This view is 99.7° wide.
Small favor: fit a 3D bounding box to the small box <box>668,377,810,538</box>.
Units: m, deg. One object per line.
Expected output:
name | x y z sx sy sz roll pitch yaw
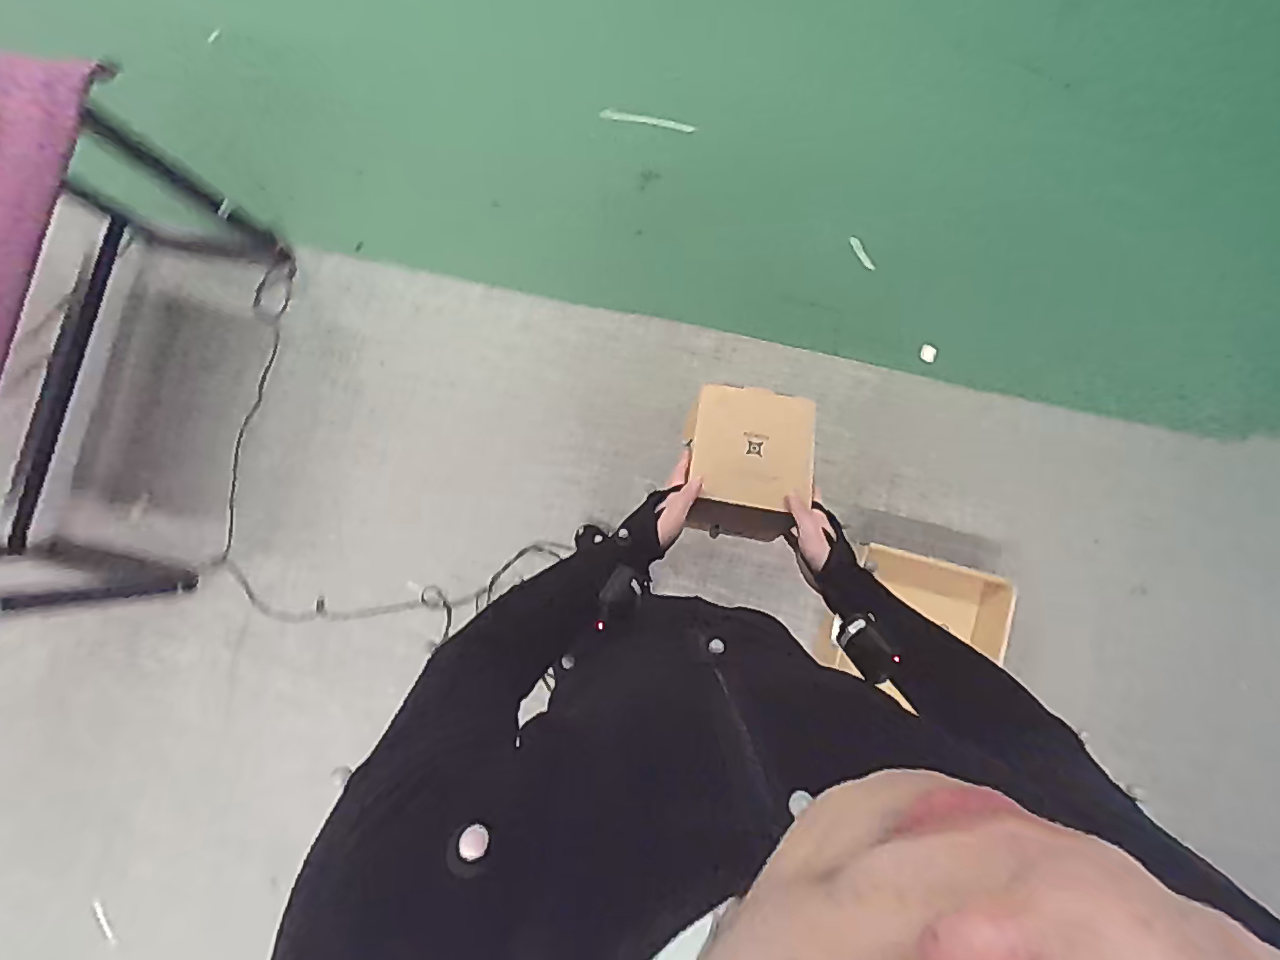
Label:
small box | 0.138 -0.025 0.798 0.168 0.176 0.179 8 72 -2
